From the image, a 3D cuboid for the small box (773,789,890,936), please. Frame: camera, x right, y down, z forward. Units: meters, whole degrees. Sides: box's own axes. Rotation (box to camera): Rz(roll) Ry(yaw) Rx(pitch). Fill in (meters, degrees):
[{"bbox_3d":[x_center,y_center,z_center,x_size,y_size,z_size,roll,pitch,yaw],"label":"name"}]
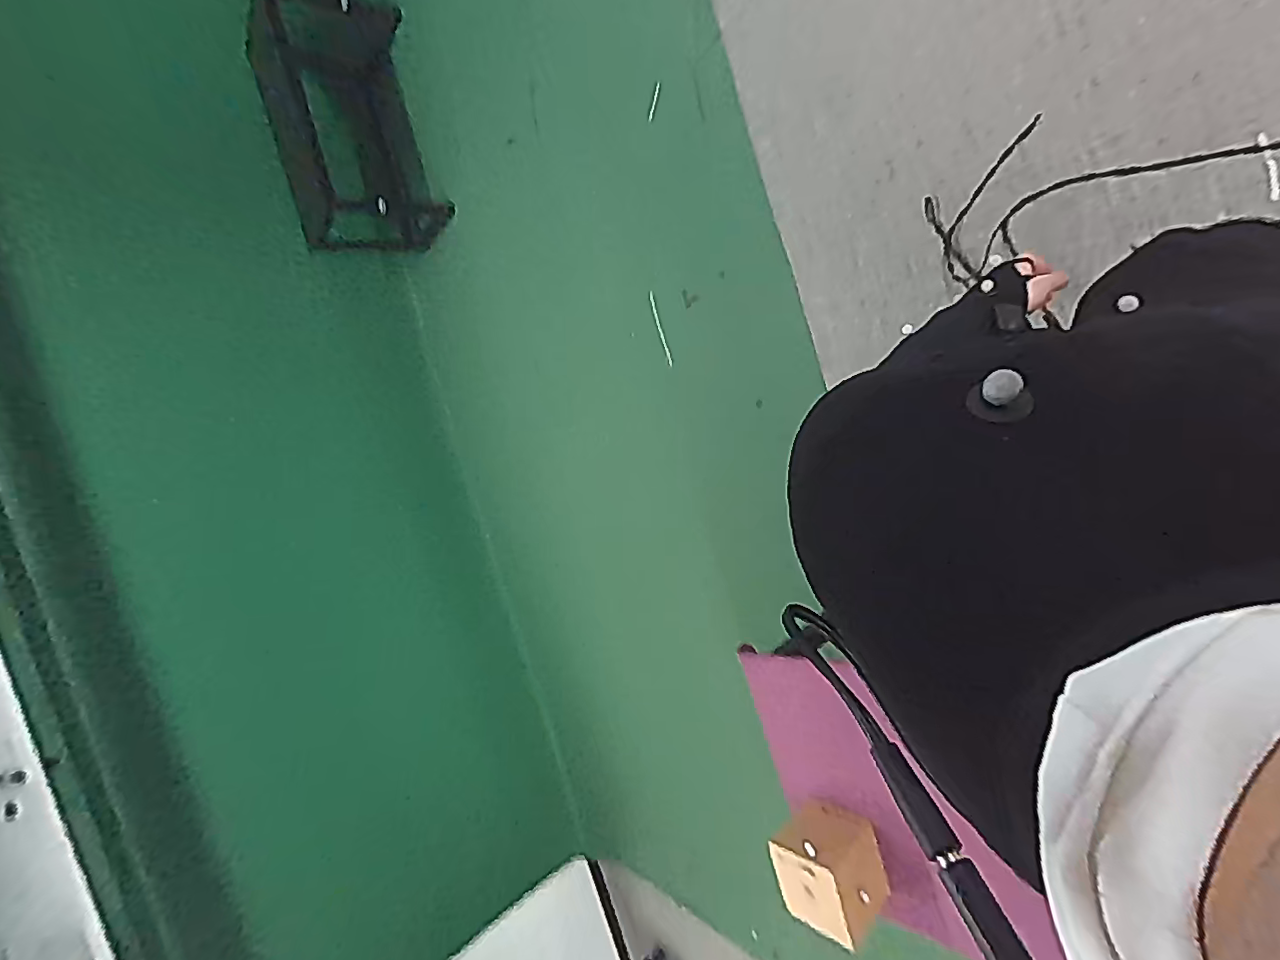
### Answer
[{"bbox_3d":[0.435,0.847,1.216,0.168,0.176,0.179,-13,96,51],"label":"small box"}]
